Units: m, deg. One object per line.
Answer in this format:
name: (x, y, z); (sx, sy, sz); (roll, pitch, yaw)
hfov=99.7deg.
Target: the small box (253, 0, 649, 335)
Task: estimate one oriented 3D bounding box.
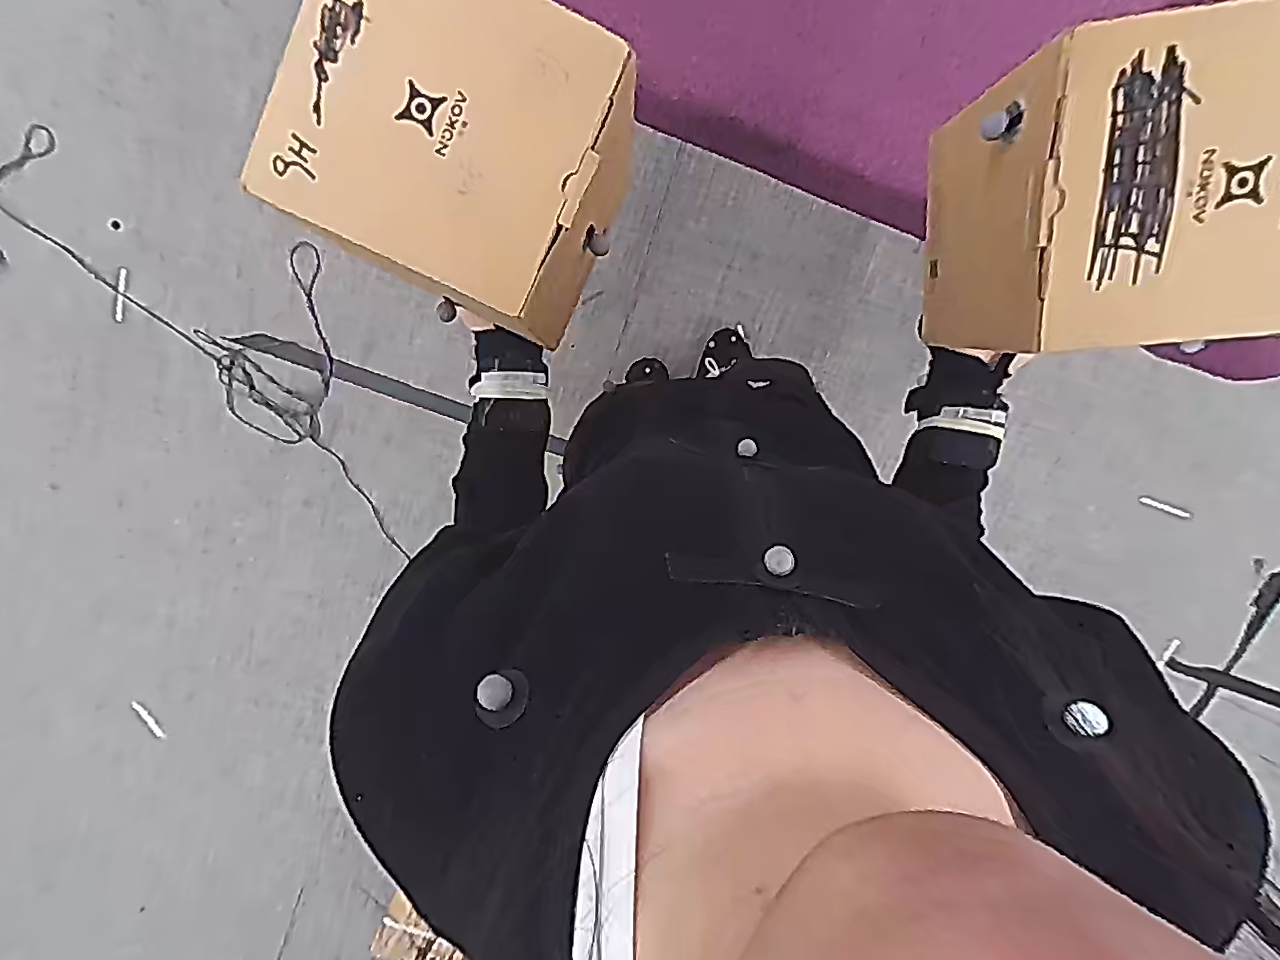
small box: (-0.109, -0.215, 0.382); (0.179, 0.176, 0.168); (25, 95, -5)
